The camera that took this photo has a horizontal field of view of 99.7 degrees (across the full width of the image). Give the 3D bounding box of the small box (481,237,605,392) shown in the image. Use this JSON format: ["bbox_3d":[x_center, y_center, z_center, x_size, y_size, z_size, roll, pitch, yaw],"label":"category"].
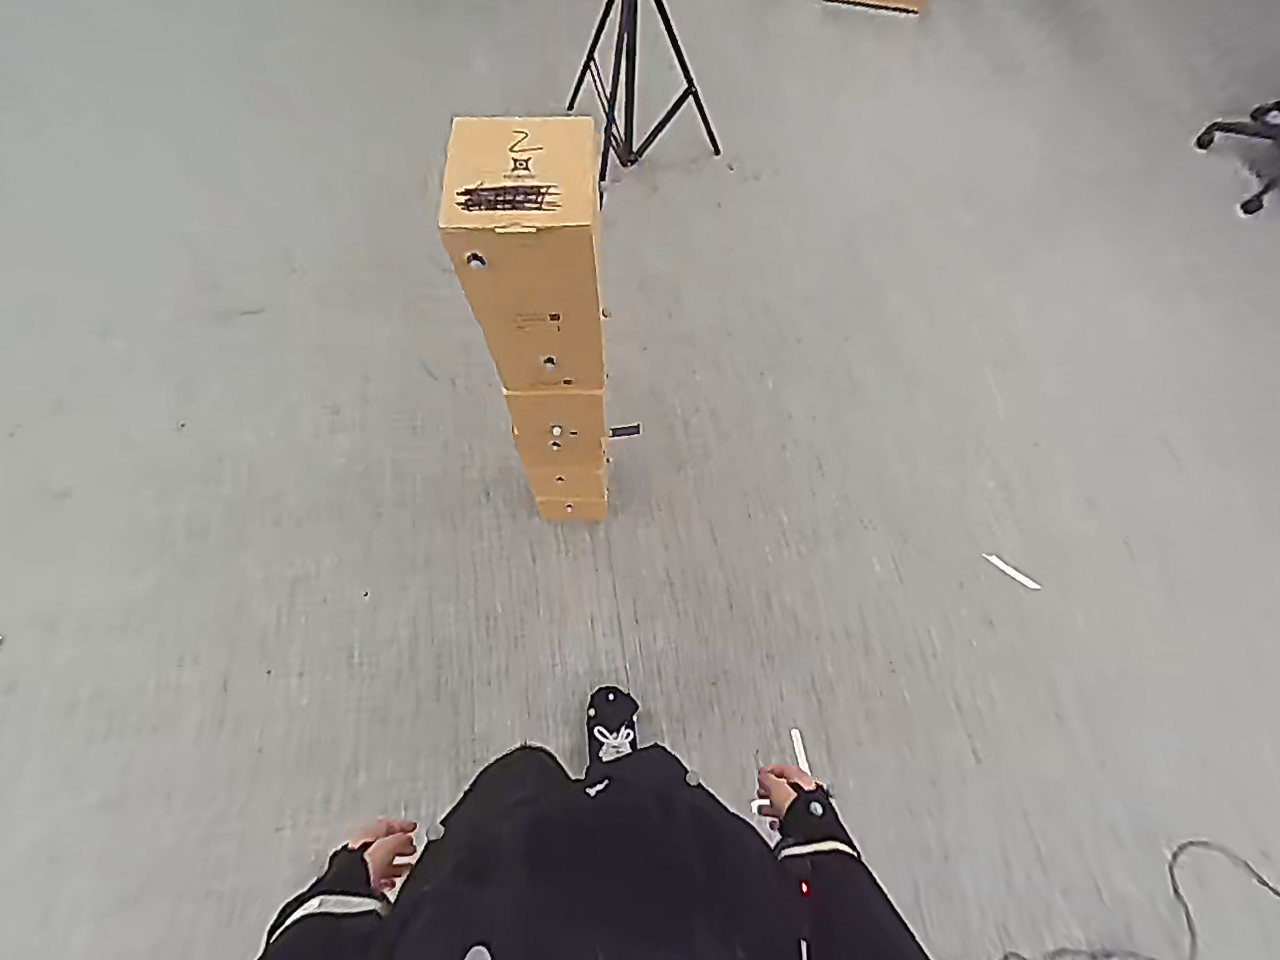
[{"bbox_3d":[-0.141,-0.246,0.839,0.168,0.176,0.179,-2,69,-3],"label":"small box"}]

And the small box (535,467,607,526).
[{"bbox_3d":[-0.176,0.019,1.436,0.179,0.176,0.168,0,68,-2],"label":"small box"}]

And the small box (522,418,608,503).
[{"bbox_3d":[-0.171,-0.050,1.287,0.179,0.176,0.168,3,69,-1],"label":"small box"}]

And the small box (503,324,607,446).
[{"bbox_3d":[-0.147,-0.177,0.988,0.168,0.176,0.179,0,69,-1],"label":"small box"}]

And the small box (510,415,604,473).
[{"bbox_3d":[-0.166,-0.118,1.141,0.179,0.176,0.168,0,69,-3],"label":"small box"}]
